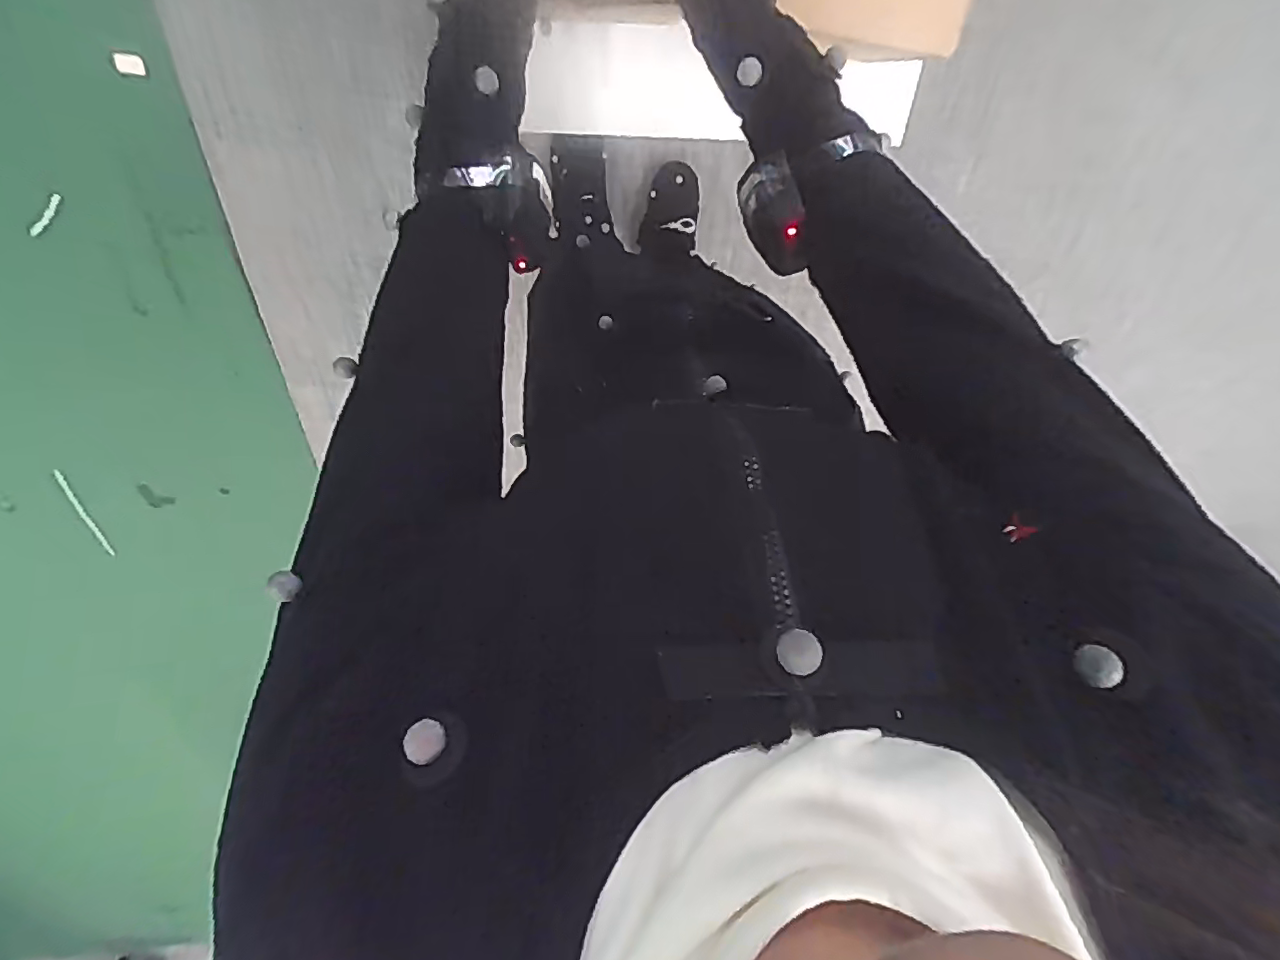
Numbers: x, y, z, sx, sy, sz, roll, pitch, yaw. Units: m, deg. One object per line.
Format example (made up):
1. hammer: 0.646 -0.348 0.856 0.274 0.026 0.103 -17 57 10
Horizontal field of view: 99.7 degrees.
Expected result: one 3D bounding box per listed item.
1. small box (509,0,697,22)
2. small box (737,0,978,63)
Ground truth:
1. small box: -0.036 -0.495 0.439 0.168 0.176 0.179 -3 125 -5
2. small box: 0.191 -0.478 0.460 0.168 0.176 0.179 3 127 -7
